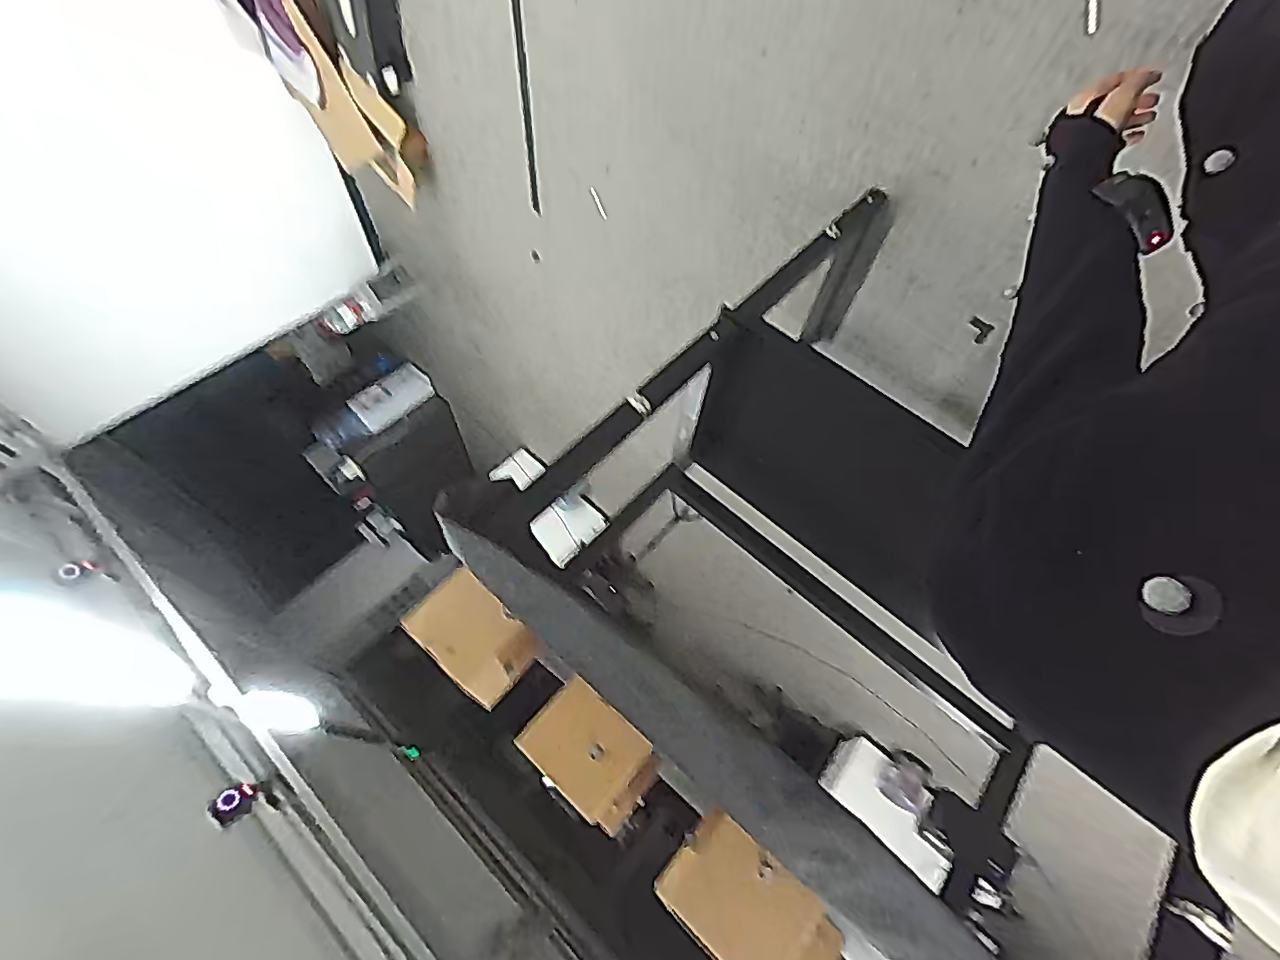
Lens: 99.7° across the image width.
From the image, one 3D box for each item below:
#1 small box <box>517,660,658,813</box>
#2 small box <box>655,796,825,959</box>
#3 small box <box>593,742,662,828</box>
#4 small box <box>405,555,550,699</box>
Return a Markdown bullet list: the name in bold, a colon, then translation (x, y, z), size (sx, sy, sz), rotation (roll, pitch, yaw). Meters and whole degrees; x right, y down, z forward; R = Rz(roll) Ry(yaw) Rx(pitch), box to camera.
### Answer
- **small box**: translation (-0.083, 0.437, 0.931), size (0.168, 0.176, 0.179), rotation (38, 155, 18)
- **small box**: translation (0.147, 0.621, 0.837), size (0.179, 0.176, 0.168), rotation (39, 156, 18)
- **small box**: translation (-0.071, 0.605, 1.166), size (0.179, 0.176, 0.168), rotation (39, 154, 16)
- **small box**: translation (-0.290, 0.270, 1.002), size (0.168, 0.176, 0.179), rotation (36, 155, 21)
